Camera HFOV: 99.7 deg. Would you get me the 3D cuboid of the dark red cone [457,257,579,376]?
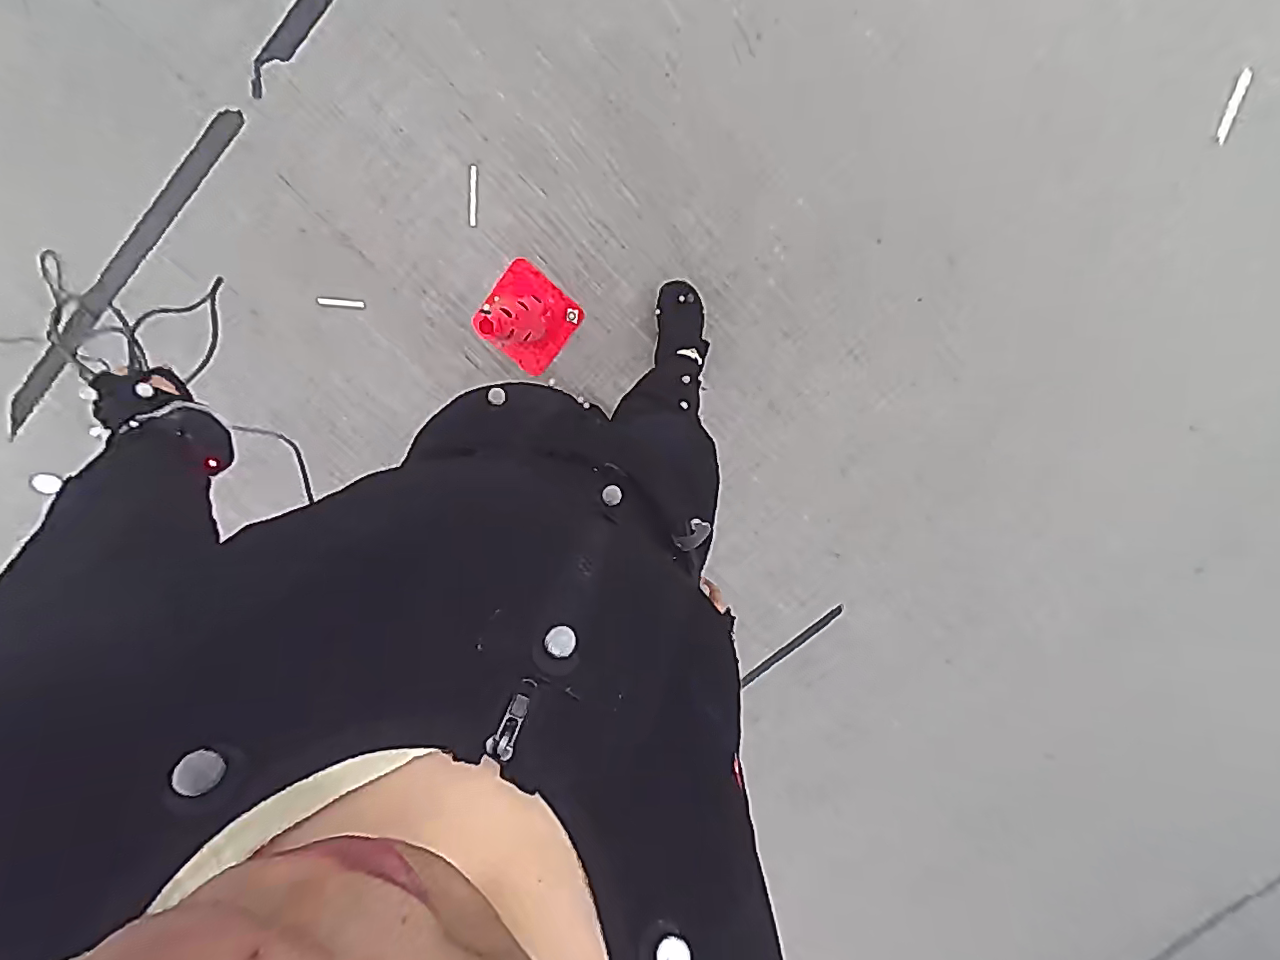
[{"bbox_3d":[-0.268,-0.310,1.059,0.201,0.394,0.202,38,105,-10],"label":"dark red cone"}]
